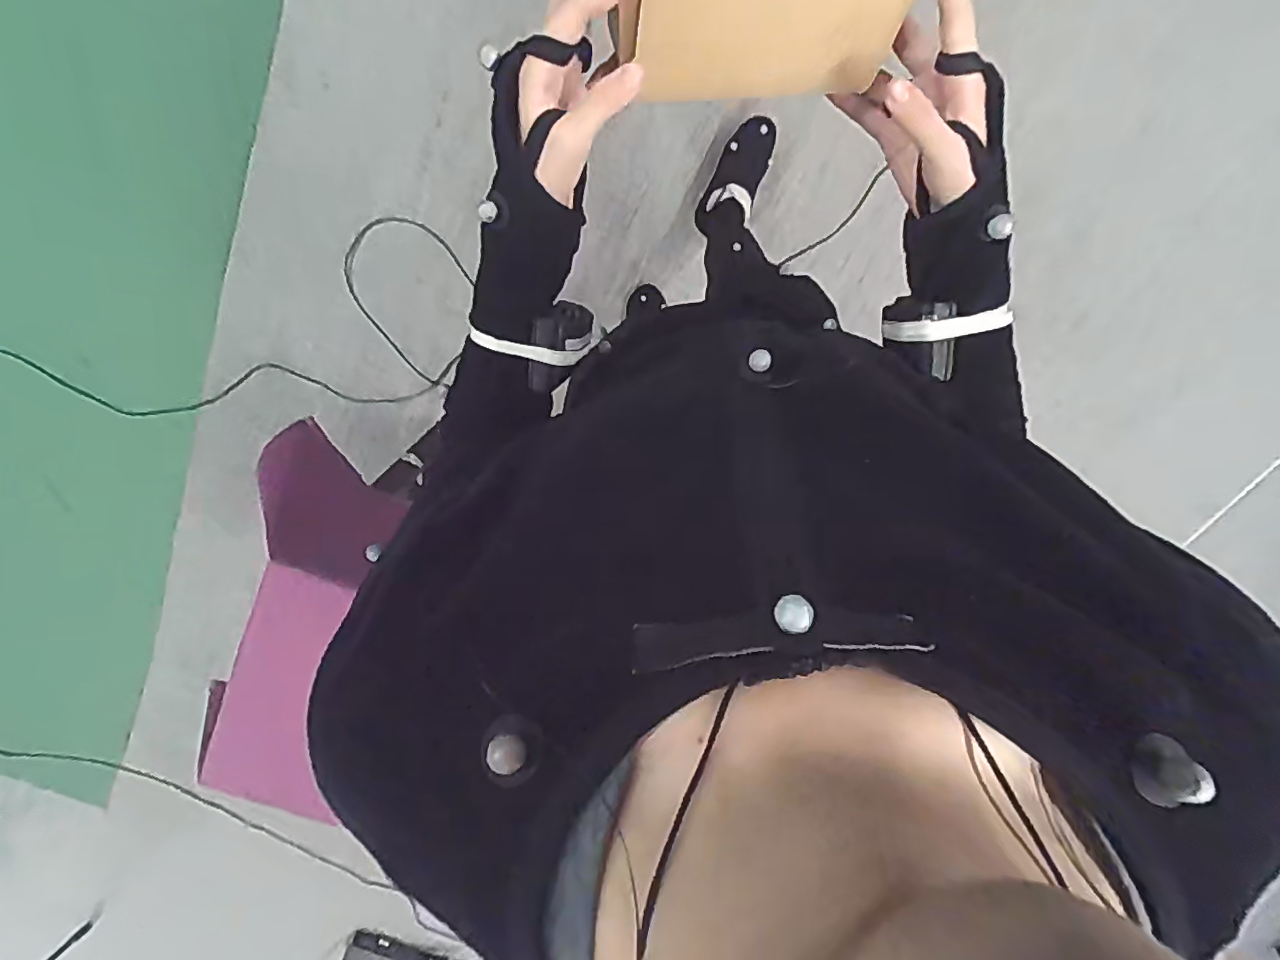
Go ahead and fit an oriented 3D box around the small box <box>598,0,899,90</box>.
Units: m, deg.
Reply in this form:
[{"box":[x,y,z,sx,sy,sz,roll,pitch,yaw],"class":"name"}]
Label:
[{"box":[0.058,-0.354,0.287,0.168,0.179,0.176,-9,72,-9],"class":"small box"}]
